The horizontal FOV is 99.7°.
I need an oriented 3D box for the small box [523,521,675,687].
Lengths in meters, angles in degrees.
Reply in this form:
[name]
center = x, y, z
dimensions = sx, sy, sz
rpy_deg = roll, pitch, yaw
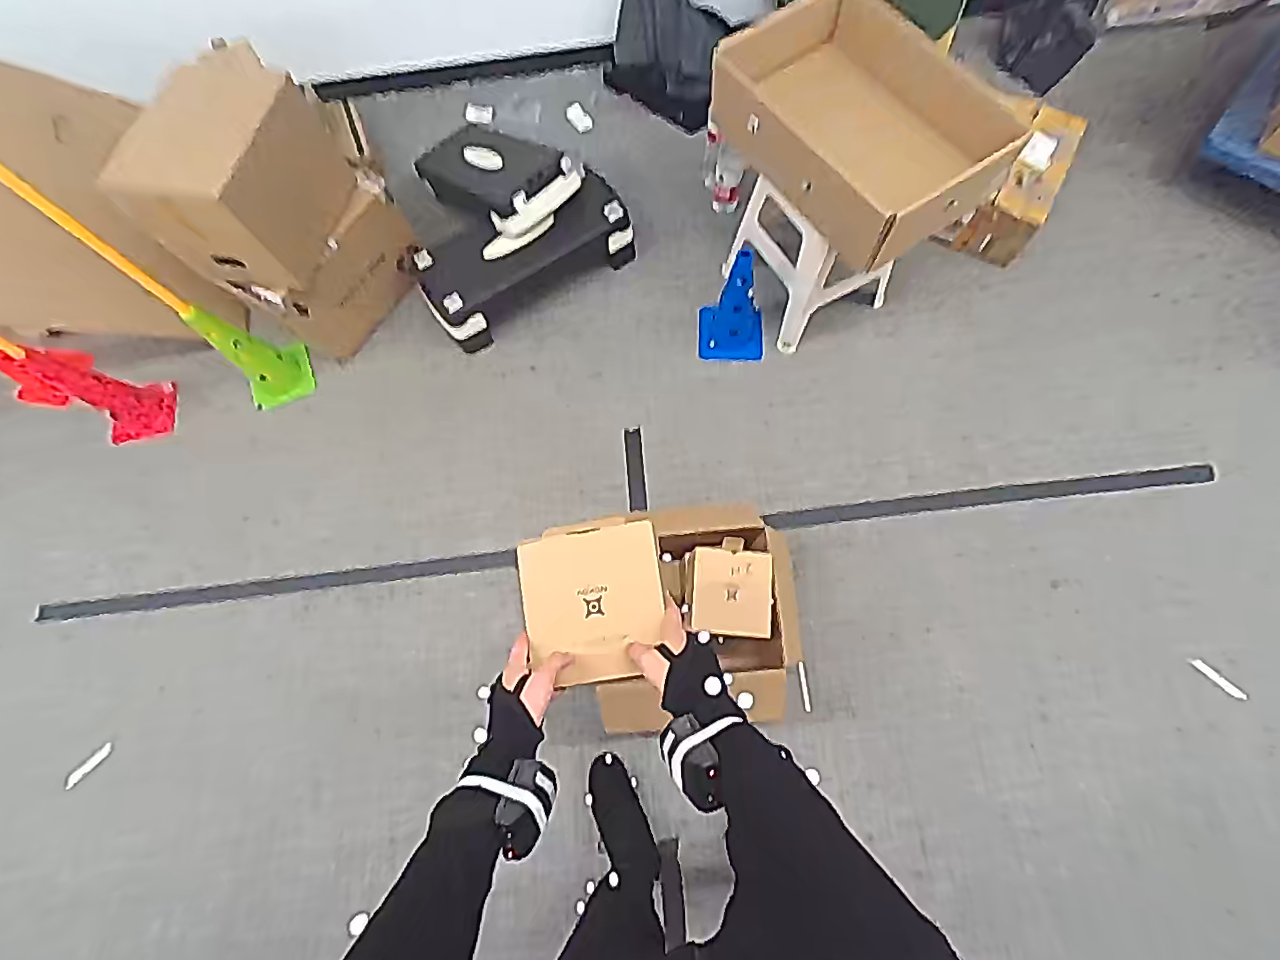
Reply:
[small box]
center = -0.048, 0.162, 0.713
dimensions = 0.168, 0.176, 0.179
rpy_deg = -9, 77, 2
